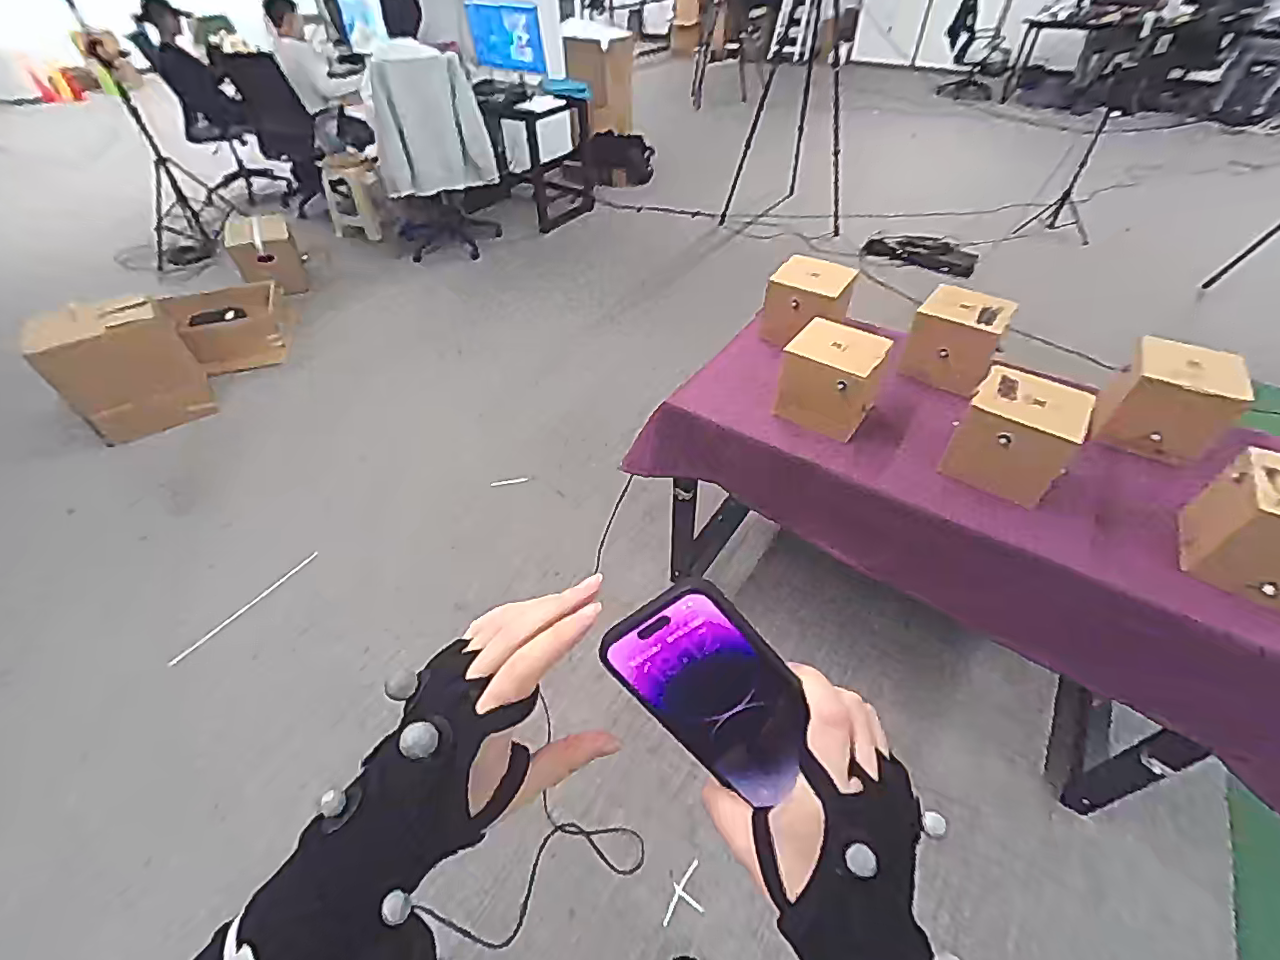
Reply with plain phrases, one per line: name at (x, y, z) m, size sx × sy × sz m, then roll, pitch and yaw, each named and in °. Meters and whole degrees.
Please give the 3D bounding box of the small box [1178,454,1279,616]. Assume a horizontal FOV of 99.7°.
small box at (1.013, 0.096, 0.851) m, size 0.179 × 0.176 × 0.168 m, roll 25°, pitch 50°, yaw 24°

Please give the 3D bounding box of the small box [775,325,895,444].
small box at (0.412, -0.204, 1.167) m, size 0.179 × 0.176 × 0.168 m, roll 28°, pitch 52°, yaw 25°

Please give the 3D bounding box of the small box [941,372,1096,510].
small box at (0.708, -0.072, 1.027) m, size 0.179 × 0.176 × 0.168 m, roll 30°, pitch 53°, yaw 26°

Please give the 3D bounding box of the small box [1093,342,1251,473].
small box at (1.059, -0.147, 1.093) m, size 0.168 × 0.176 × 0.179 m, roll 24°, pitch 50°, yaw 24°
